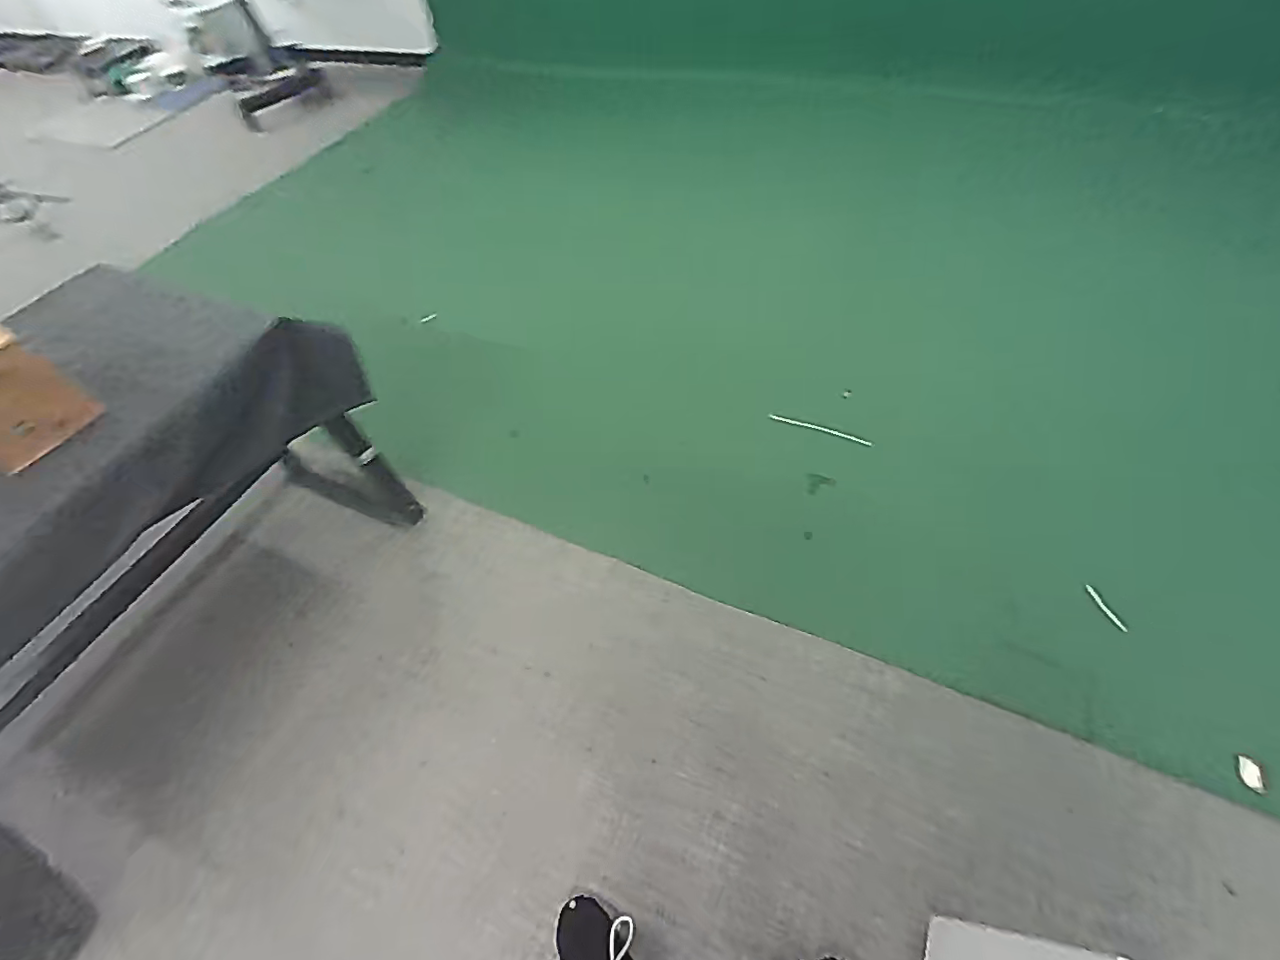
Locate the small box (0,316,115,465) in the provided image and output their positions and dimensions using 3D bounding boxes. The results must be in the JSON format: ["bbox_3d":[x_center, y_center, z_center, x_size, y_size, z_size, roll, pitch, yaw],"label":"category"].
[{"bbox_3d":[-1.060,-0.151,0.903,0.179,0.176,0.168,24,60,22],"label":"small box"}]
